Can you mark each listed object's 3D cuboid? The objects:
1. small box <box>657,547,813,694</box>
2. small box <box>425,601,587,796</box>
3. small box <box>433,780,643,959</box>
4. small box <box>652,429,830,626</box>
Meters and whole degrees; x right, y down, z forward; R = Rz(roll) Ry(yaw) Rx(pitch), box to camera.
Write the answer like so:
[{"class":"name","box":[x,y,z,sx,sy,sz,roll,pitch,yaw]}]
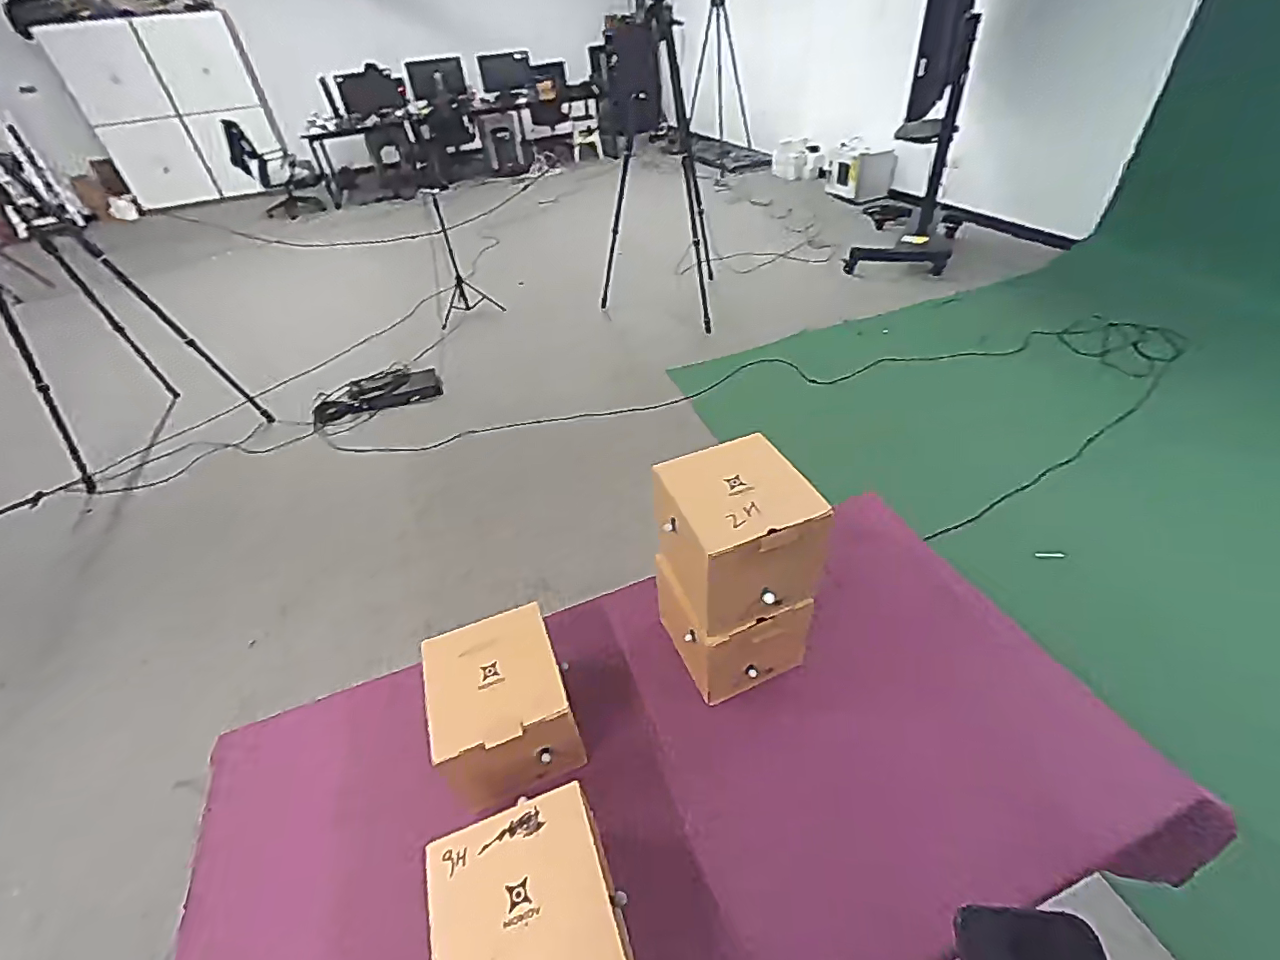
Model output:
[{"class":"small box","box":[0.138,0.191,0.834,0.168,0.176,0.179,-20,44,-14]},{"class":"small box","box":[-0.182,0.308,0.751,0.168,0.176,0.179,-18,42,-13]},{"class":"small box","box":[-0.101,0.460,0.567,0.168,0.176,0.179,-18,43,-12]},{"class":"small box","box":[0.125,0.062,0.731,0.168,0.176,0.179,-19,44,-12]}]
